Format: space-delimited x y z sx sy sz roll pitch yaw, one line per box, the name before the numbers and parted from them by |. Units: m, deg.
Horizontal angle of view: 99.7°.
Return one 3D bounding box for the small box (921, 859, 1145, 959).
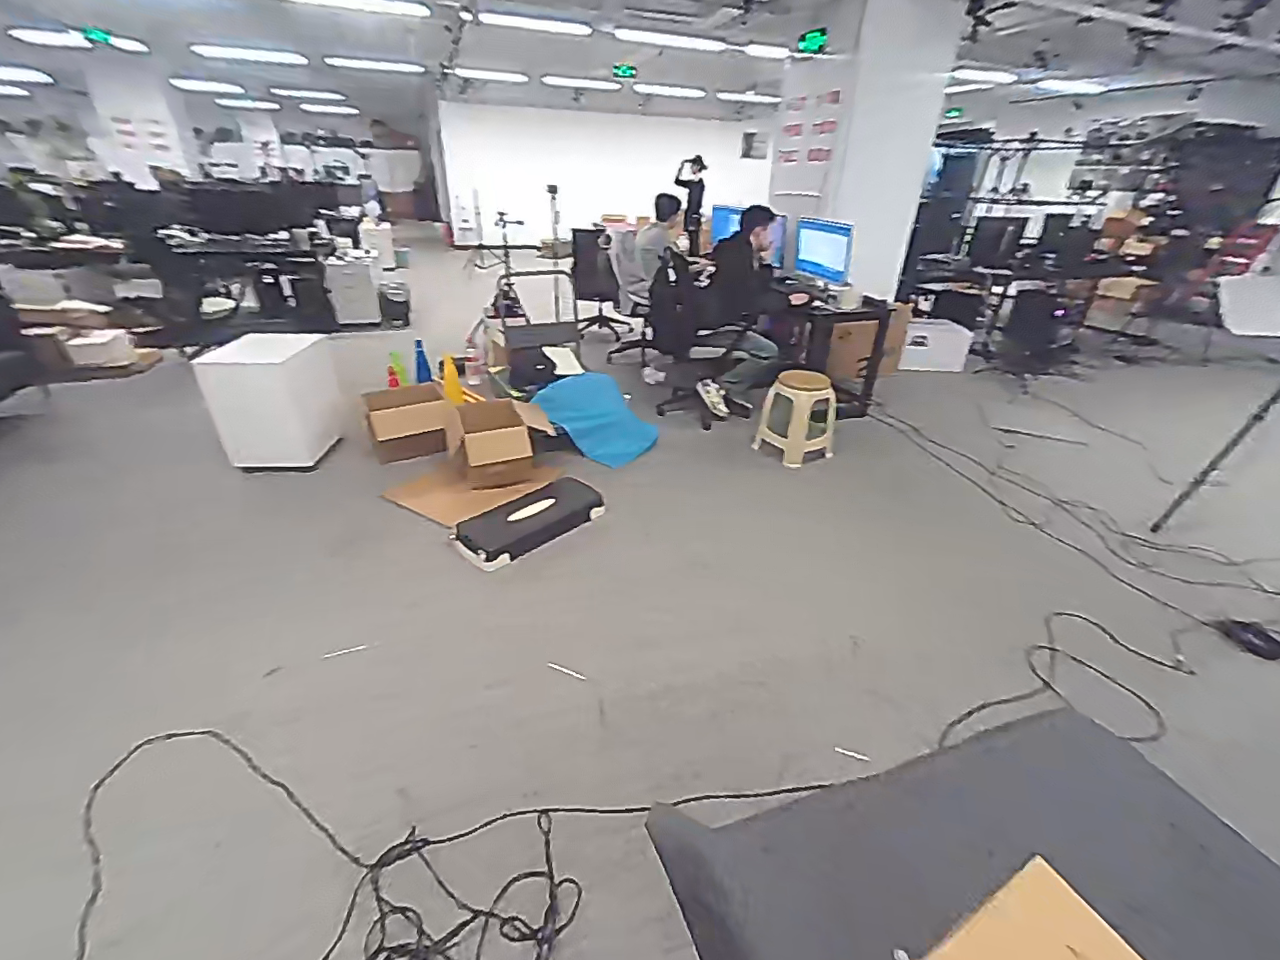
small box | 0.305 0.452 0.416 0.179 0.176 0.168 -15 41 -27
